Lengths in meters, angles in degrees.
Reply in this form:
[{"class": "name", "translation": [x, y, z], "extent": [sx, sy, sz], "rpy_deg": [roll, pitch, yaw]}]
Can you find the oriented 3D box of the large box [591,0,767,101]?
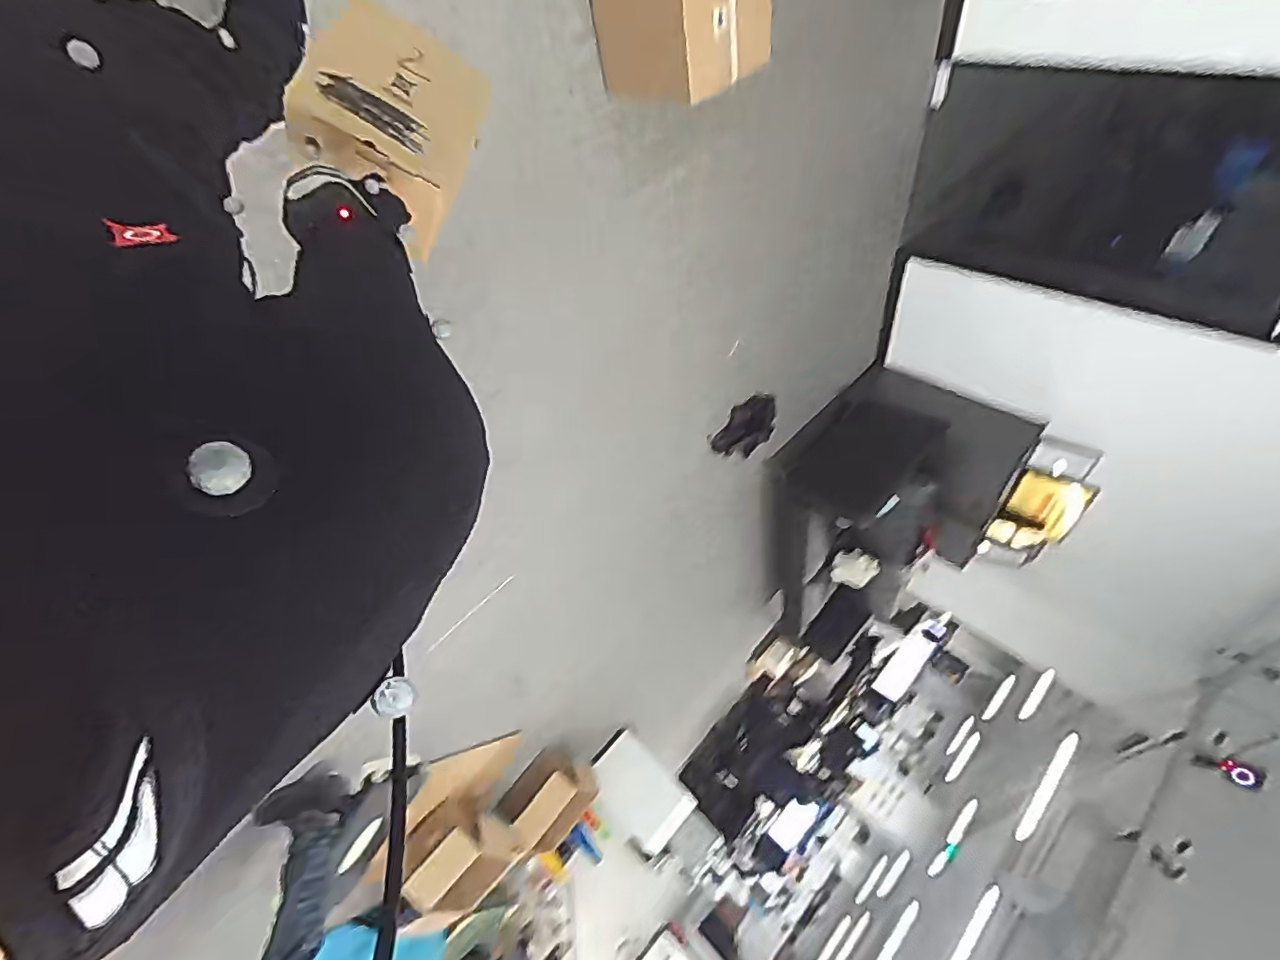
[{"class": "large box", "translation": [0.085, -1.191, 1.269], "extent": [0.320, 0.320, 0.408], "rpy_deg": [-41, 146, -20]}]
